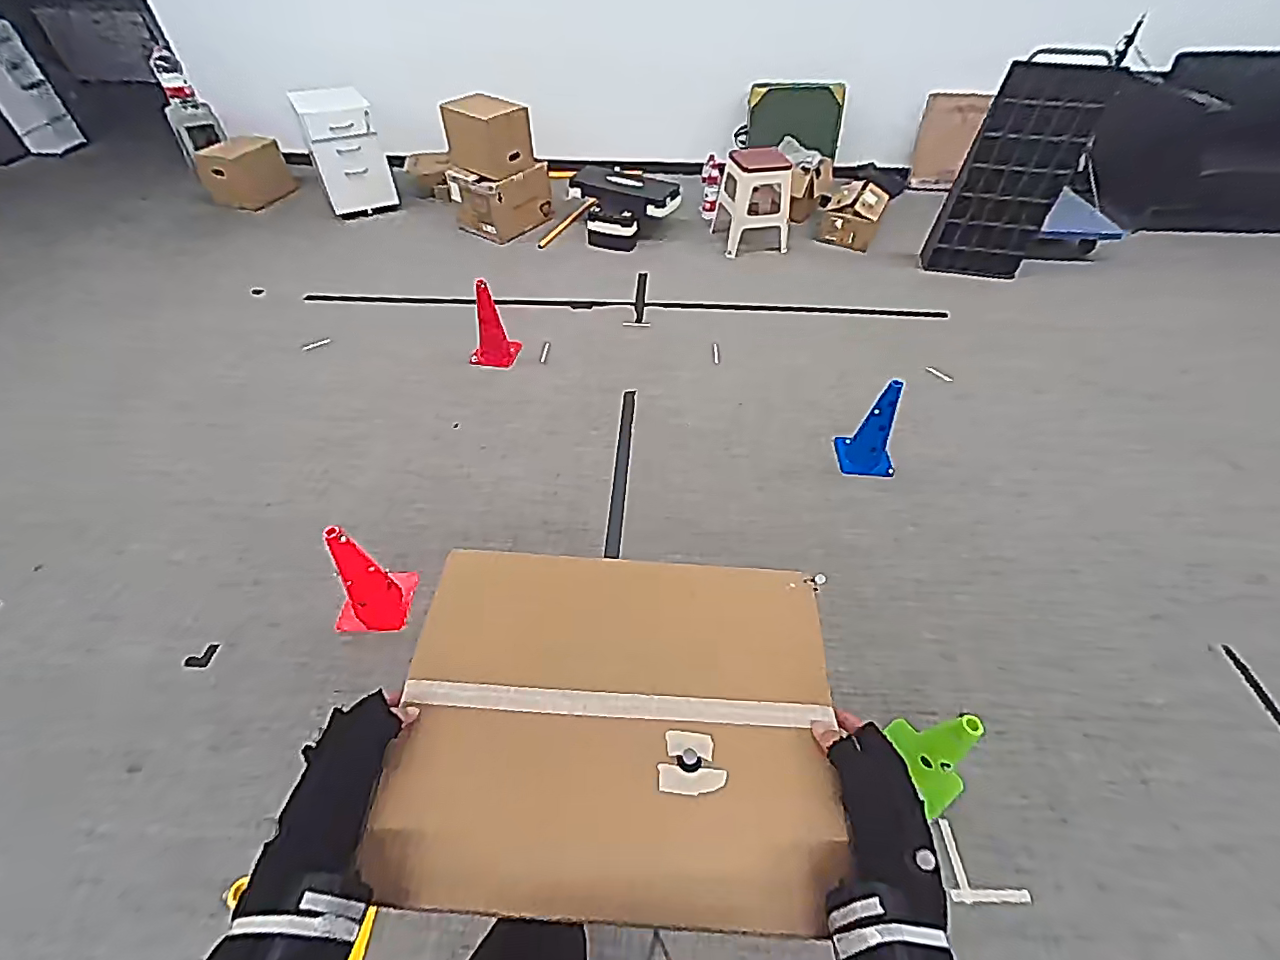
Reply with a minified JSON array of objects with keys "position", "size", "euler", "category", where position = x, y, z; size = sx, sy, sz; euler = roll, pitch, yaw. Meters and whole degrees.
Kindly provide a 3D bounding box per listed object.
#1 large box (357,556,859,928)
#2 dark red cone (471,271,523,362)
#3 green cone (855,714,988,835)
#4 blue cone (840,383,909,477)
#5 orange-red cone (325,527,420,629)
[{"position":[-0.025,0.310,0.628],"size":[0.408,0.320,0.320],"euler":[4,51,1],"category":"large box"},{"position":[-0.652,-0.721,2.374],"size":[0.201,0.394,0.202],"euler":[8,48,5],"category":"dark red cone"},{"position":[0.671,0.615,1.212],"size":[0.202,0.368,0.200],"euler":[-26,54,-24],"category":"green cone"},{"position":[0.882,-0.195,1.974],"size":[0.192,0.380,0.193],"euler":[6,48,3],"category":"blue cone"},{"position":[-0.790,0.251,1.522],"size":[0.198,0.360,0.199],"euler":[0,49,0],"category":"orange-red cone"}]
